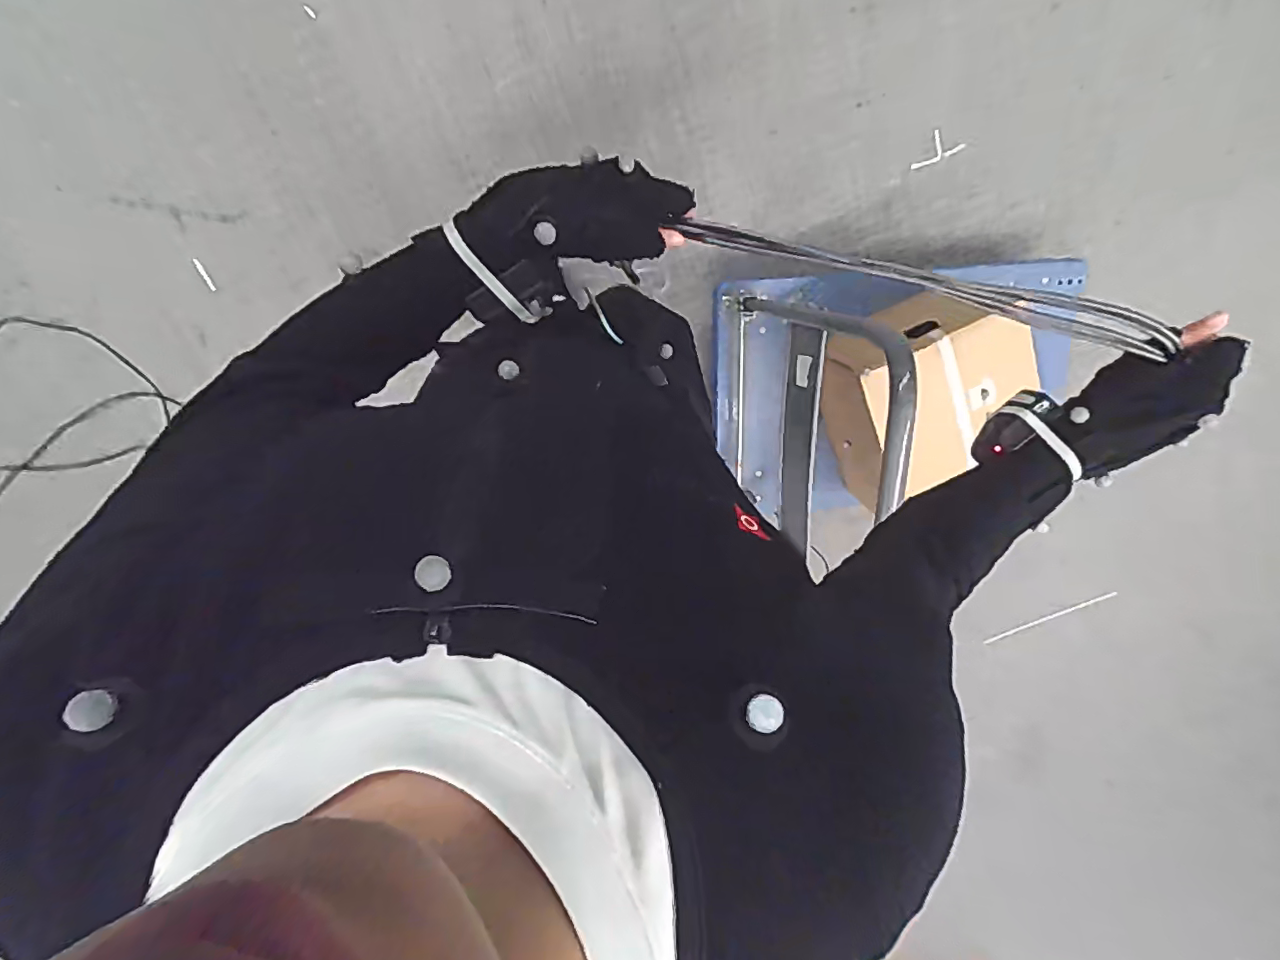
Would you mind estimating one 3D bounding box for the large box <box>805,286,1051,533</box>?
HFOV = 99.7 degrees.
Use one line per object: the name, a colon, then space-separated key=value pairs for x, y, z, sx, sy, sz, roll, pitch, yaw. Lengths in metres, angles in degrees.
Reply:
large box: x=0.609 y=-0.165 z=1.182 sx=0.320 sy=0.320 sz=0.408 roll=-24 pitch=111 yaw=5
